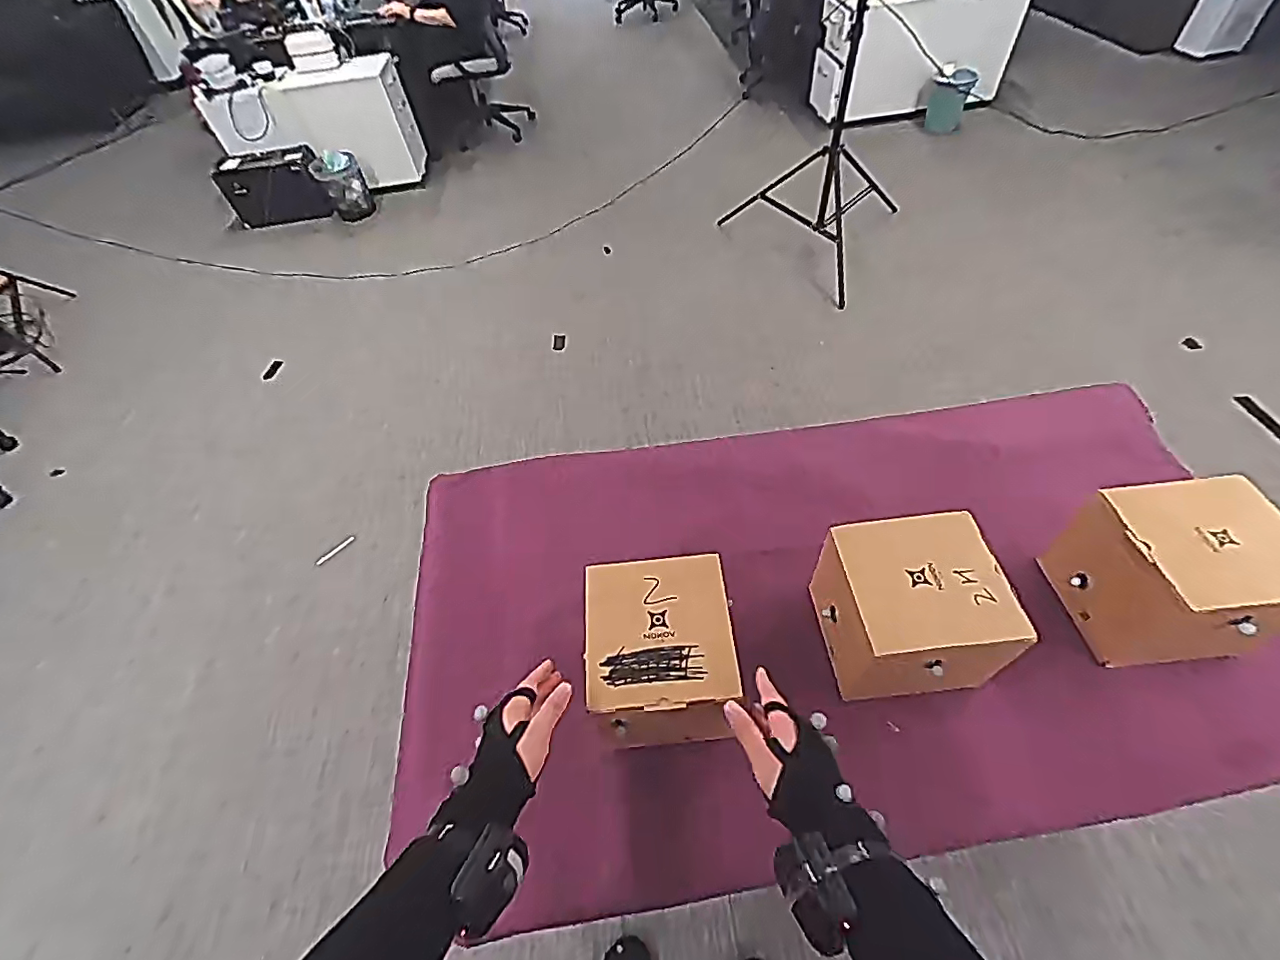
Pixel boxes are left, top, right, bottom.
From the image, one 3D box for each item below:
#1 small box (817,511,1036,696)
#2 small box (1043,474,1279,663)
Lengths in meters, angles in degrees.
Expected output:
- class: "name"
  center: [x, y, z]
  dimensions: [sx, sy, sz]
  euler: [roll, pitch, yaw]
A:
- class: "small box"
  center: [0.333, 0.160, 0.679]
  dimensions: [0.179, 0.176, 0.168]
  euler: [-6, 52, 1]
- class: "small box"
  center: [0.666, 0.115, 0.677]
  dimensions: [0.179, 0.176, 0.168]
  euler: [-7, 51, 2]
